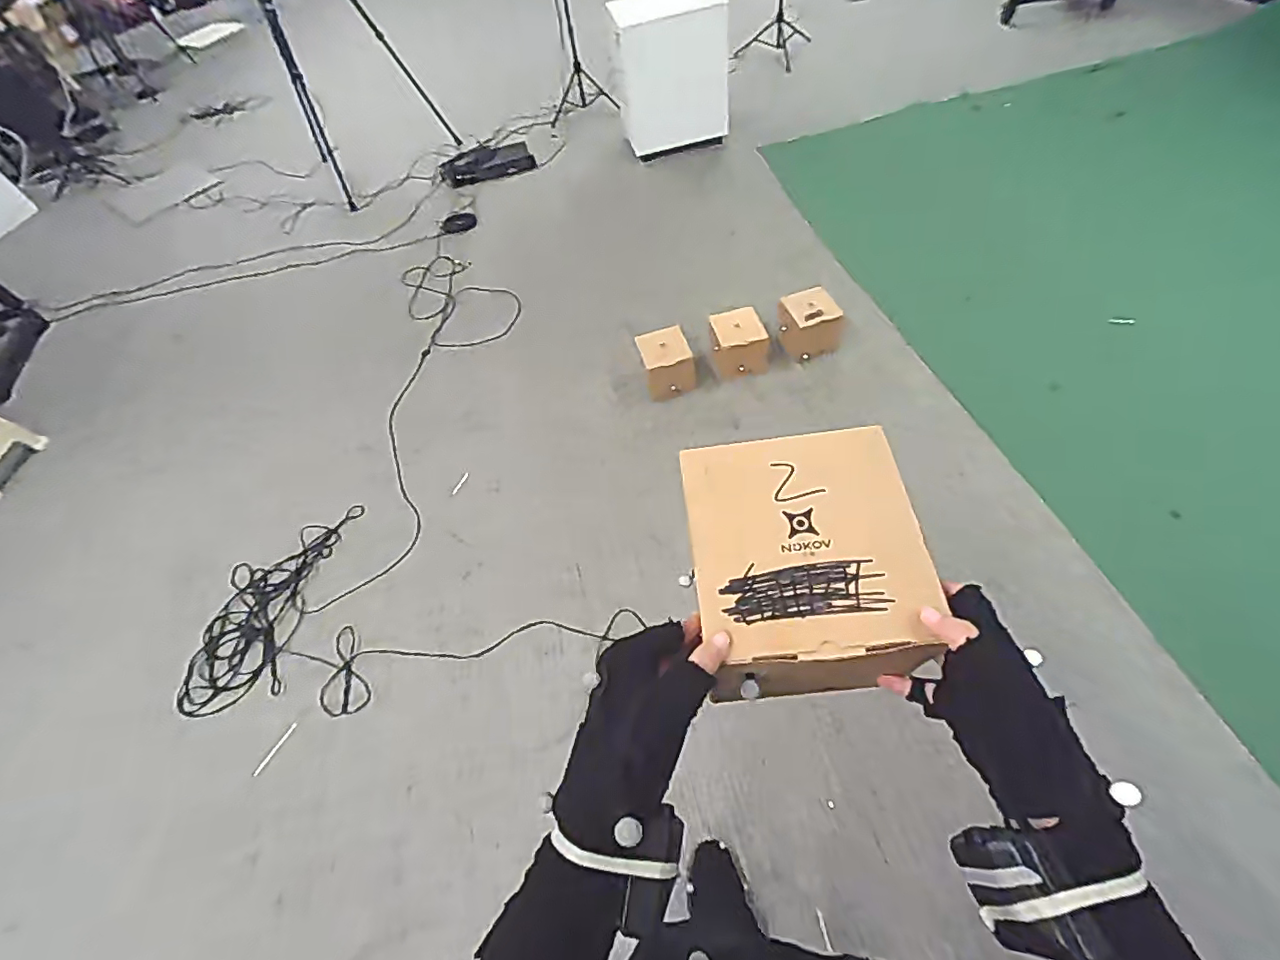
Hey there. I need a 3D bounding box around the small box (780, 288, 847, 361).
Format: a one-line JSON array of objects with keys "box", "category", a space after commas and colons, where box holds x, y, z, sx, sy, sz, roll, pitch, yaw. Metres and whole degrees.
[{"box": [0.620, -0.553, 1.952, 0.168, 0.176, 0.179, -17, 55, -3], "category": "small box"}]

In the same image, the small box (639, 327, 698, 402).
[{"box": [0.103, -0.408, 1.932, 0.168, 0.176, 0.179, -17, 56, -1], "category": "small box"}]

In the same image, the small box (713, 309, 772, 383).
[{"box": [0.362, -0.480, 1.944, 0.168, 0.176, 0.179, -14, 55, -1], "category": "small box"}]
